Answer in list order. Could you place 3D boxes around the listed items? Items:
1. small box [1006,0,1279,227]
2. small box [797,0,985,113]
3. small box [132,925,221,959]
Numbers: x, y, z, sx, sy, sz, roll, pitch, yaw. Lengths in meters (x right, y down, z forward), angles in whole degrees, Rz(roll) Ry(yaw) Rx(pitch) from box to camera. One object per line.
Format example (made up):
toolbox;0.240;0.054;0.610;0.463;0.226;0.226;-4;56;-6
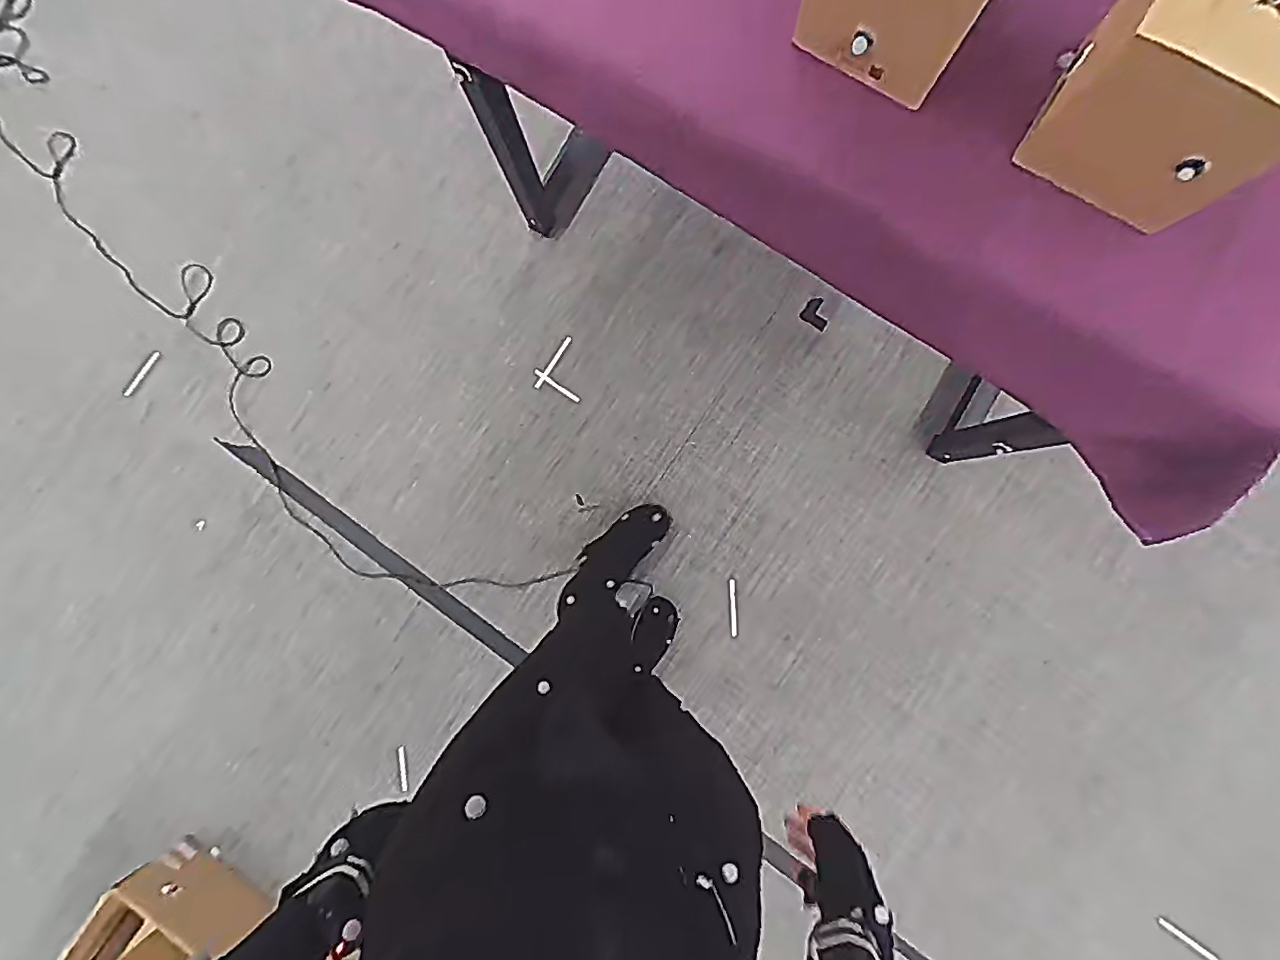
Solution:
small box;0.526;-0.388;0.538;0.179;0.176;0.168;30;87;5
small box;0.285;-0.538;0.554;0.168;0.176;0.179;32;89;4
small box;-1.081;1.153;1.195;0.179;0.176;0.168;35;87;2
